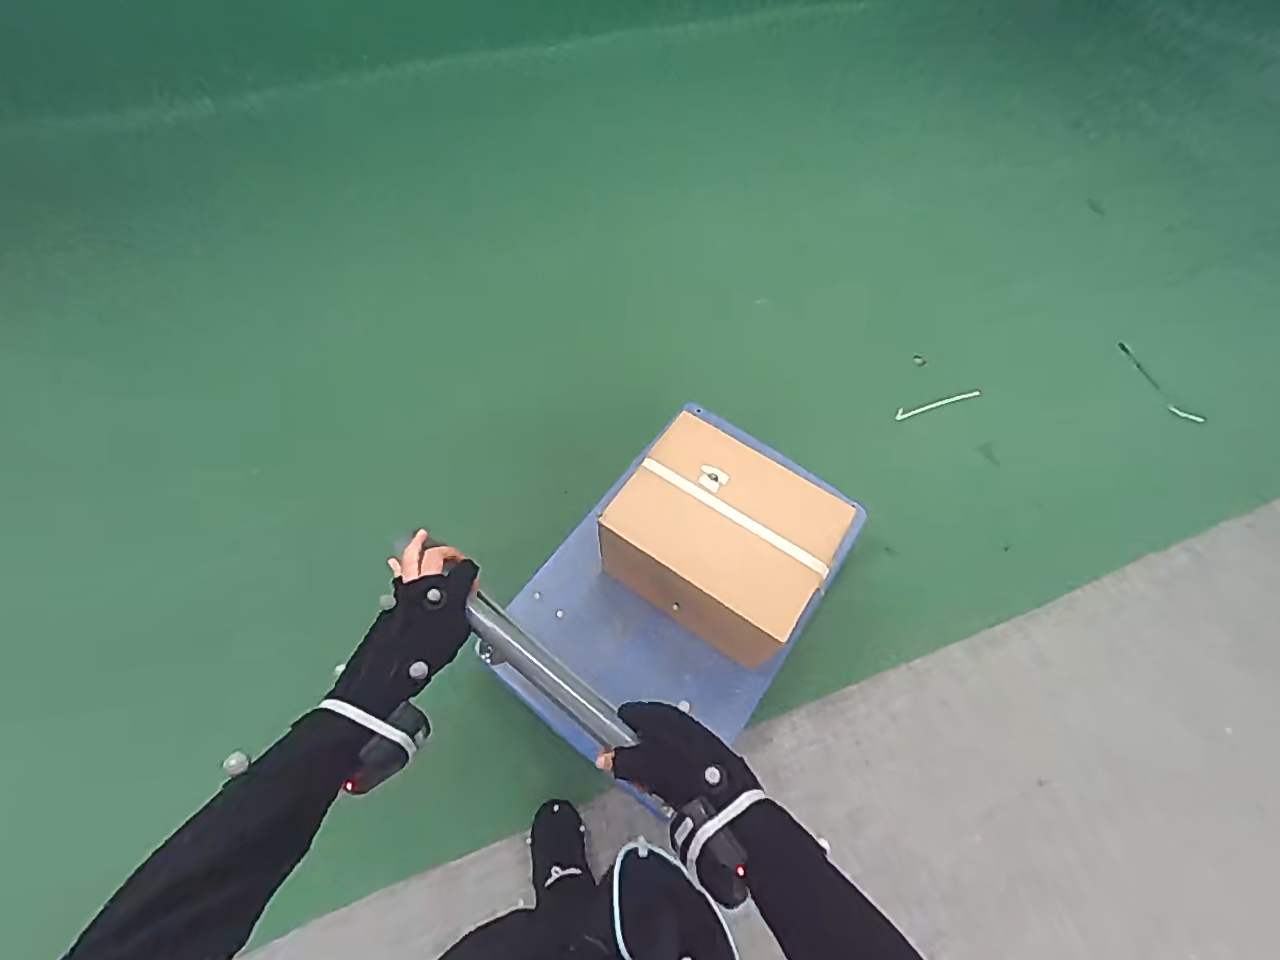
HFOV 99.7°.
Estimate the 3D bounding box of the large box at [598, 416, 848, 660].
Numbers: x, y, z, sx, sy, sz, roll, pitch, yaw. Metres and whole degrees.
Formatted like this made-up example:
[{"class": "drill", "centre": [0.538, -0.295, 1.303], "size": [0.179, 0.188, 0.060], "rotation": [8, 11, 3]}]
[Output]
[{"class": "large box", "centre": [0.165, 0.136, 1.186], "size": [0.408, 0.320, 0.320], "rotation": [31, 66, 14]}]
